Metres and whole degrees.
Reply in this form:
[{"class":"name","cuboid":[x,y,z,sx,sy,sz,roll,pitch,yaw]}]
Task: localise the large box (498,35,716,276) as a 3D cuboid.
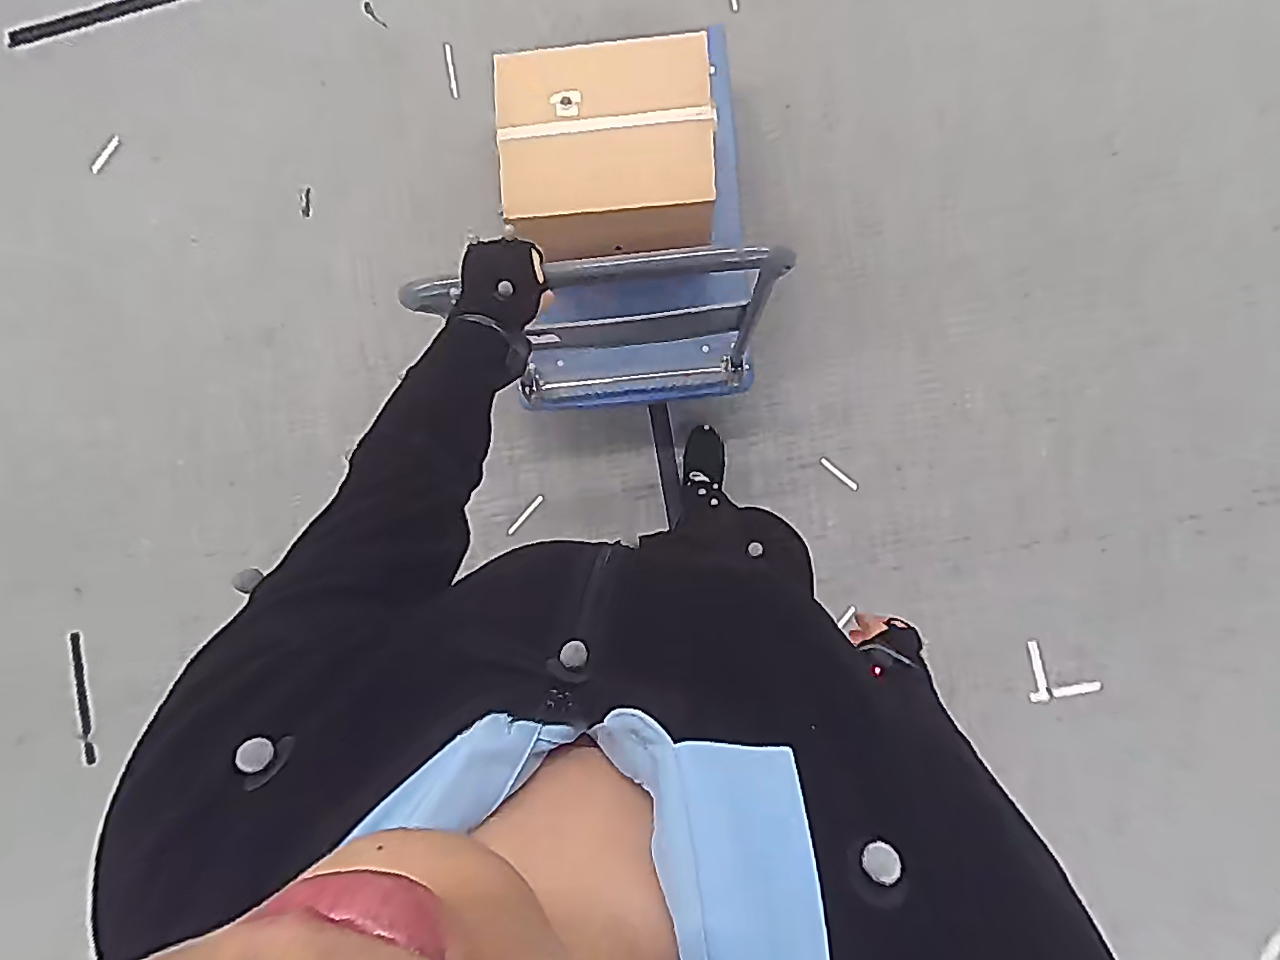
[{"class":"large box","cuboid":[-0.053,-0.662,1.168,0.408,0.320,0.320,-3,89,6]}]
